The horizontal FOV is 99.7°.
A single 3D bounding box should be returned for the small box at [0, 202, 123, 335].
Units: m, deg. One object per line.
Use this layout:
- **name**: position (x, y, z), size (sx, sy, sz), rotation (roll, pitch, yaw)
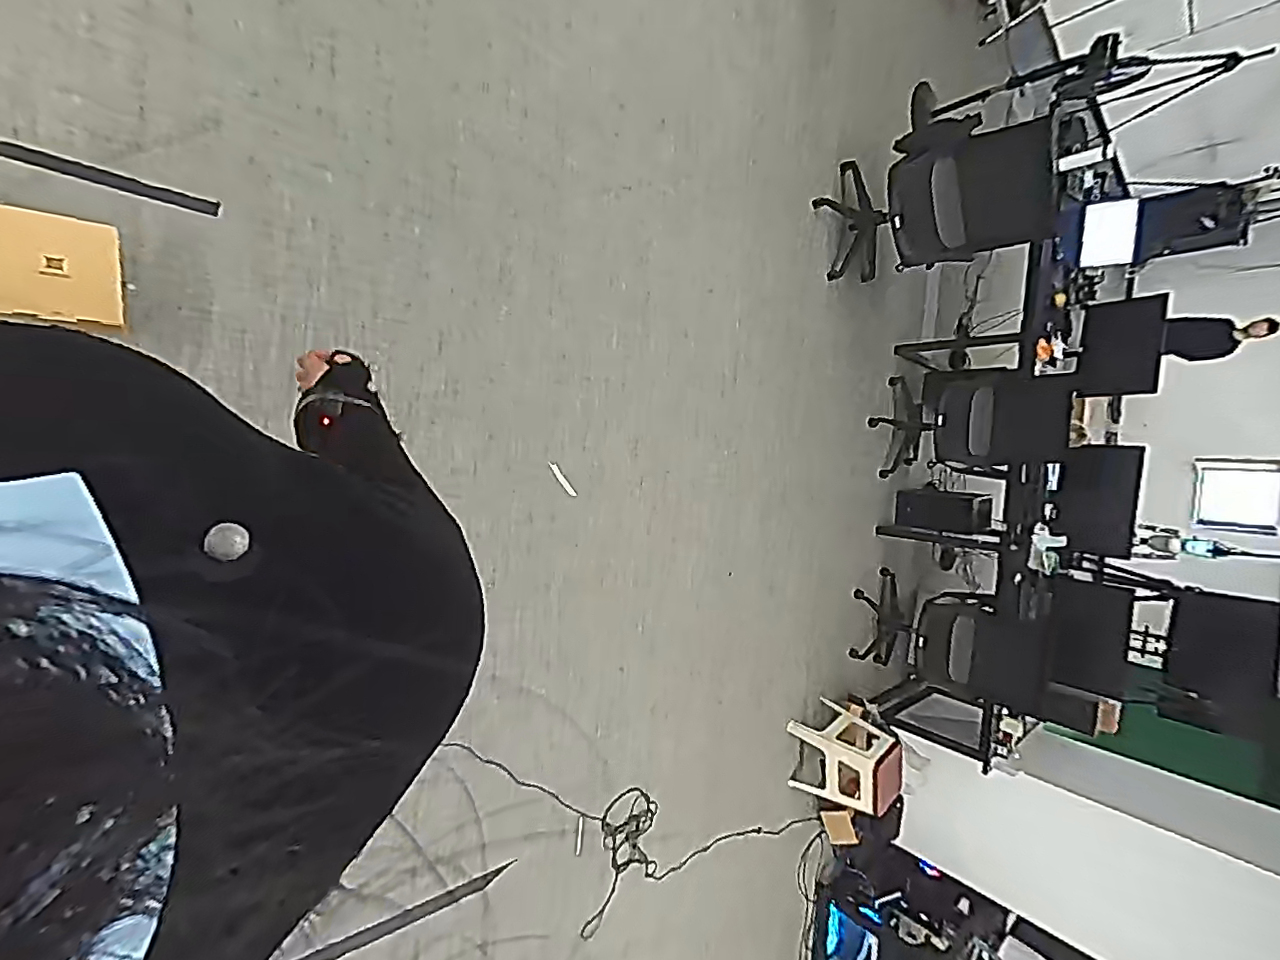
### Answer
- **small box**: position (-1.047, -0.368, 0.970), size (0.168, 0.176, 0.179), rotation (-3, 97, -42)
